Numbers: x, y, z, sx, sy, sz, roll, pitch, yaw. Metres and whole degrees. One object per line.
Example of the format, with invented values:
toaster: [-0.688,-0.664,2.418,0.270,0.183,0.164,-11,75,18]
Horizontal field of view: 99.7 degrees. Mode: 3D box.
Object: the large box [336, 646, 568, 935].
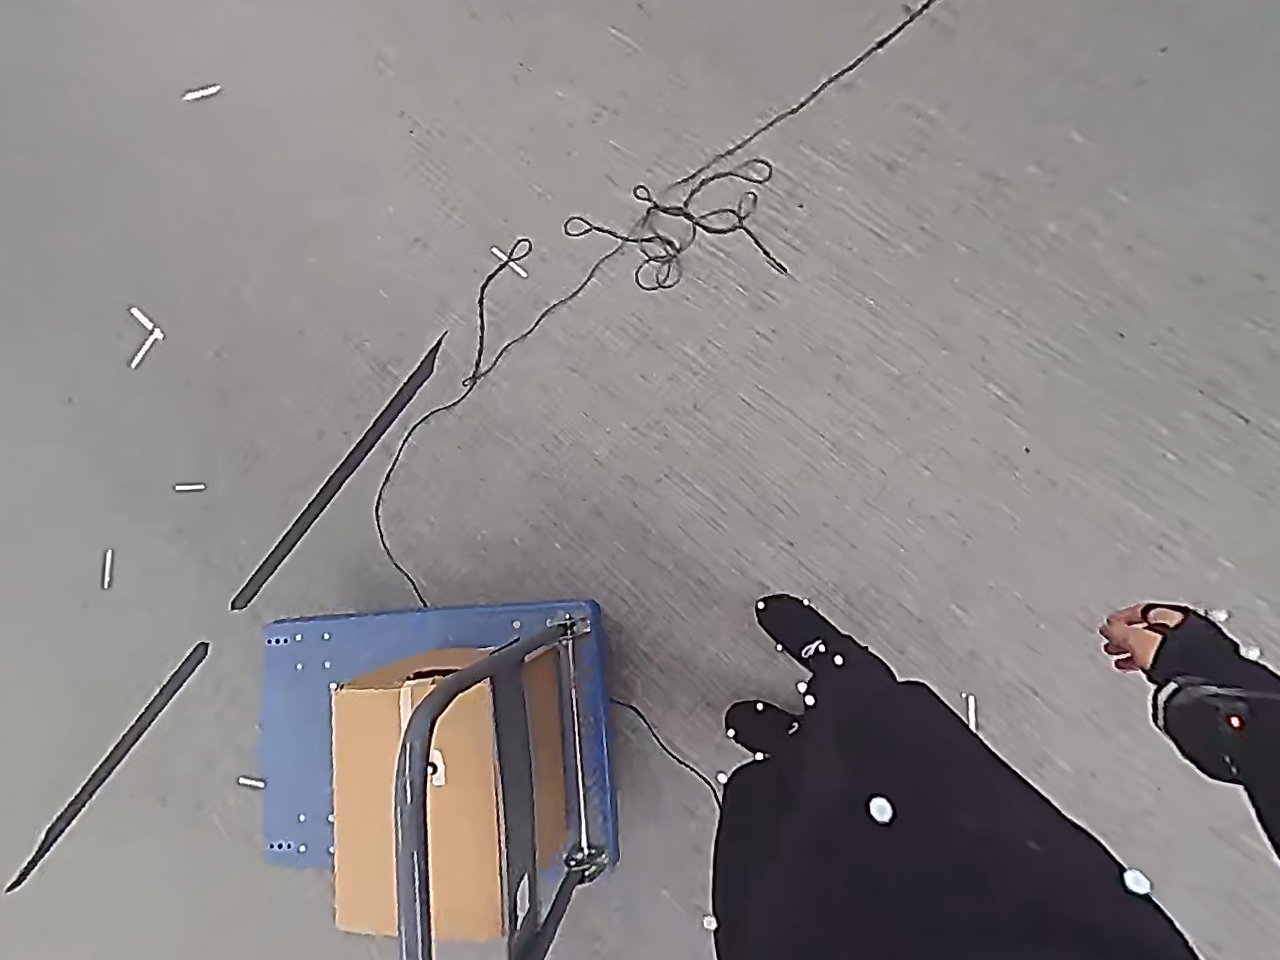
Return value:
large box: [-0.349,0.565,1.061,0.320,0.320,0.408,-6,83,11]
